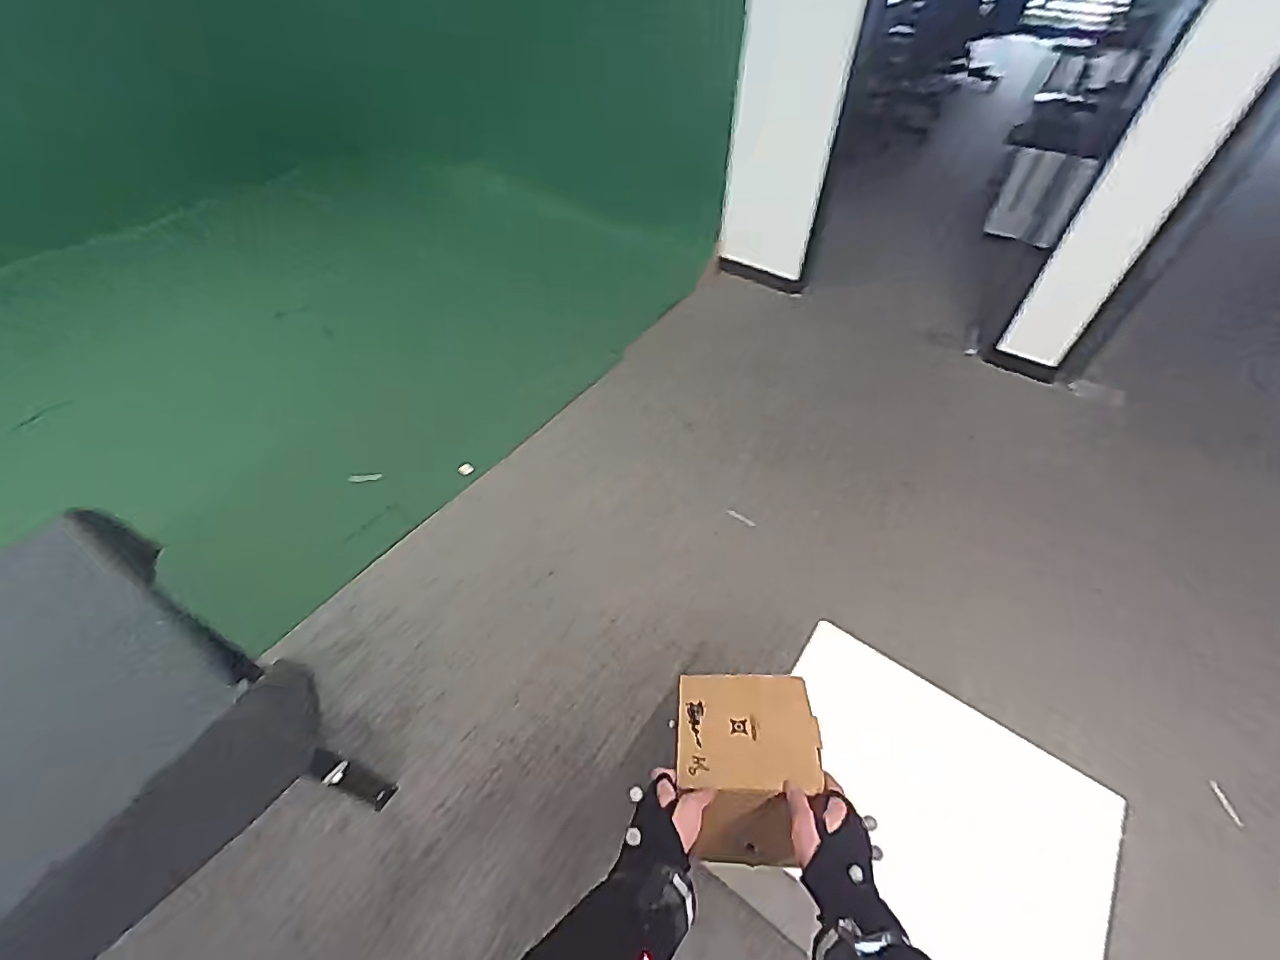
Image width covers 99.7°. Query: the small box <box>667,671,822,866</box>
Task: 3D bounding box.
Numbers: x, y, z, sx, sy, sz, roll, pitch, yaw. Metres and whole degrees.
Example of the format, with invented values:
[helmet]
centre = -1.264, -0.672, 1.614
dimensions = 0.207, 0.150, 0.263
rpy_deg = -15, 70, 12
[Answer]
[small box]
centre = 0.127, 0.380, 0.718
dimensions = 0.179, 0.176, 0.168
rpy_deg = 0, 29, 6
